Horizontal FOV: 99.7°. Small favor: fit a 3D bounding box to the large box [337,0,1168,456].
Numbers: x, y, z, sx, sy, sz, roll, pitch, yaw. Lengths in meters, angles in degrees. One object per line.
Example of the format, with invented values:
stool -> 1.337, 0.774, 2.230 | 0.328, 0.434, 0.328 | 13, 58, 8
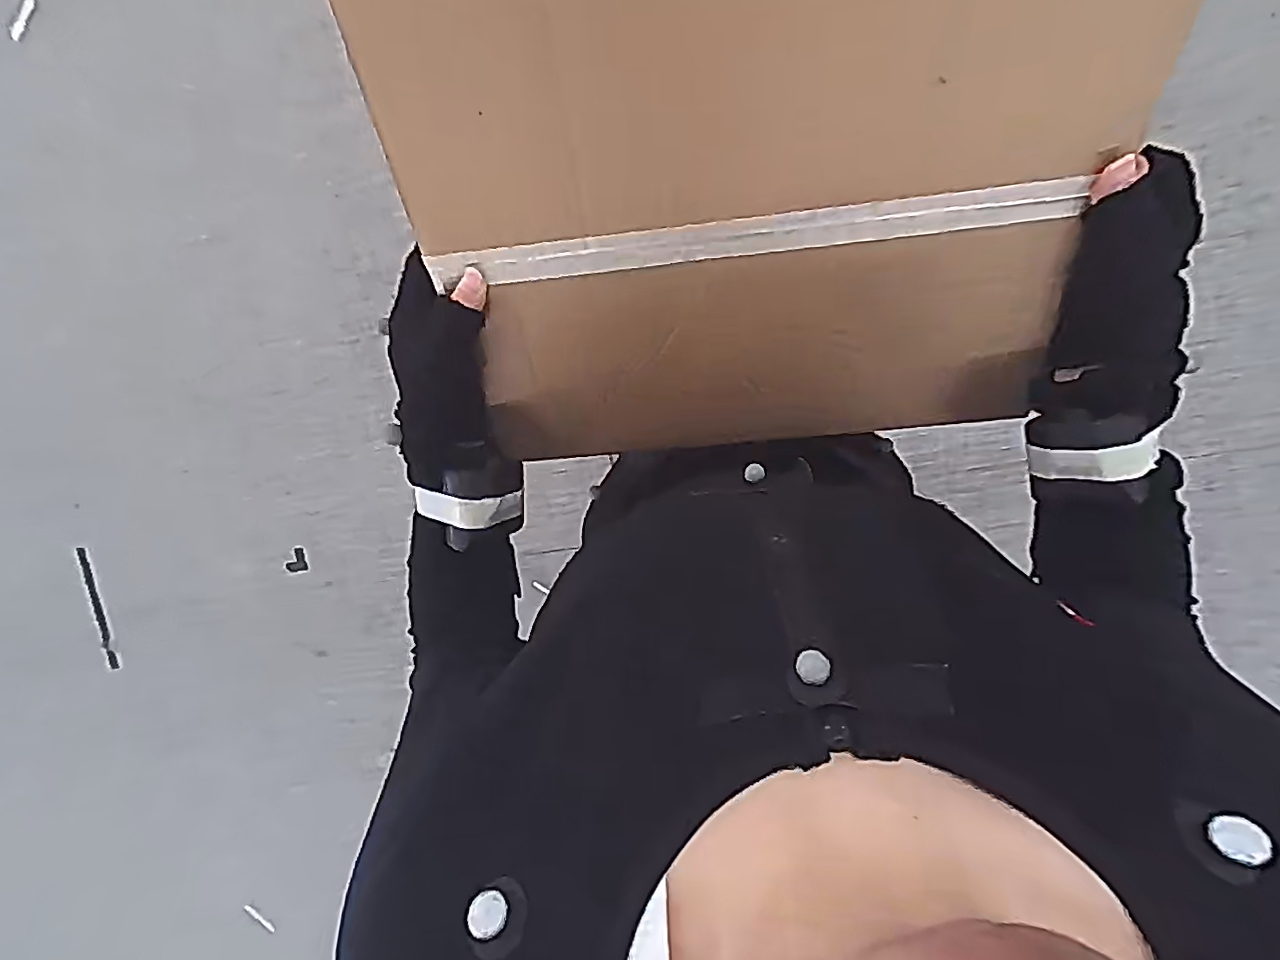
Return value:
large box -> 0.069, -0.251, 0.444 | 0.408, 0.320, 0.320 | -5, 132, 4
